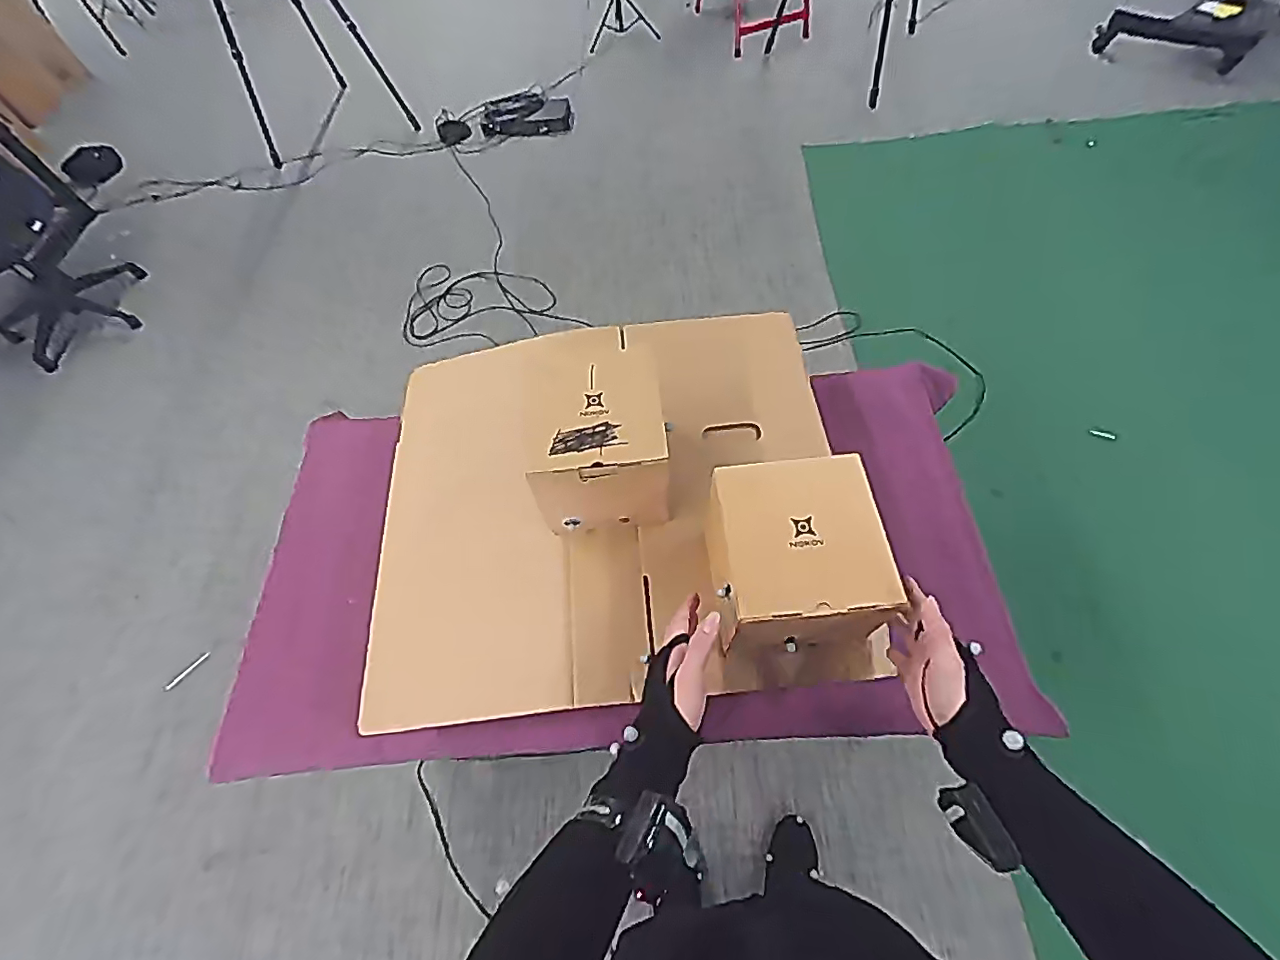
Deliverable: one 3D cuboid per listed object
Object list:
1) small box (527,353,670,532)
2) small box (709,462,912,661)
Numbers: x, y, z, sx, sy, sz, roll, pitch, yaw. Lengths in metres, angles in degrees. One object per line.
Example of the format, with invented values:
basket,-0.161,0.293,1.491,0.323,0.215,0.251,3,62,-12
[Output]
small box,-0.049,-0.040,0.717,0.168,0.176,0.179,-6,60,-1
small box,0.177,0.100,0.629,0.168,0.176,0.179,-5,61,-1
